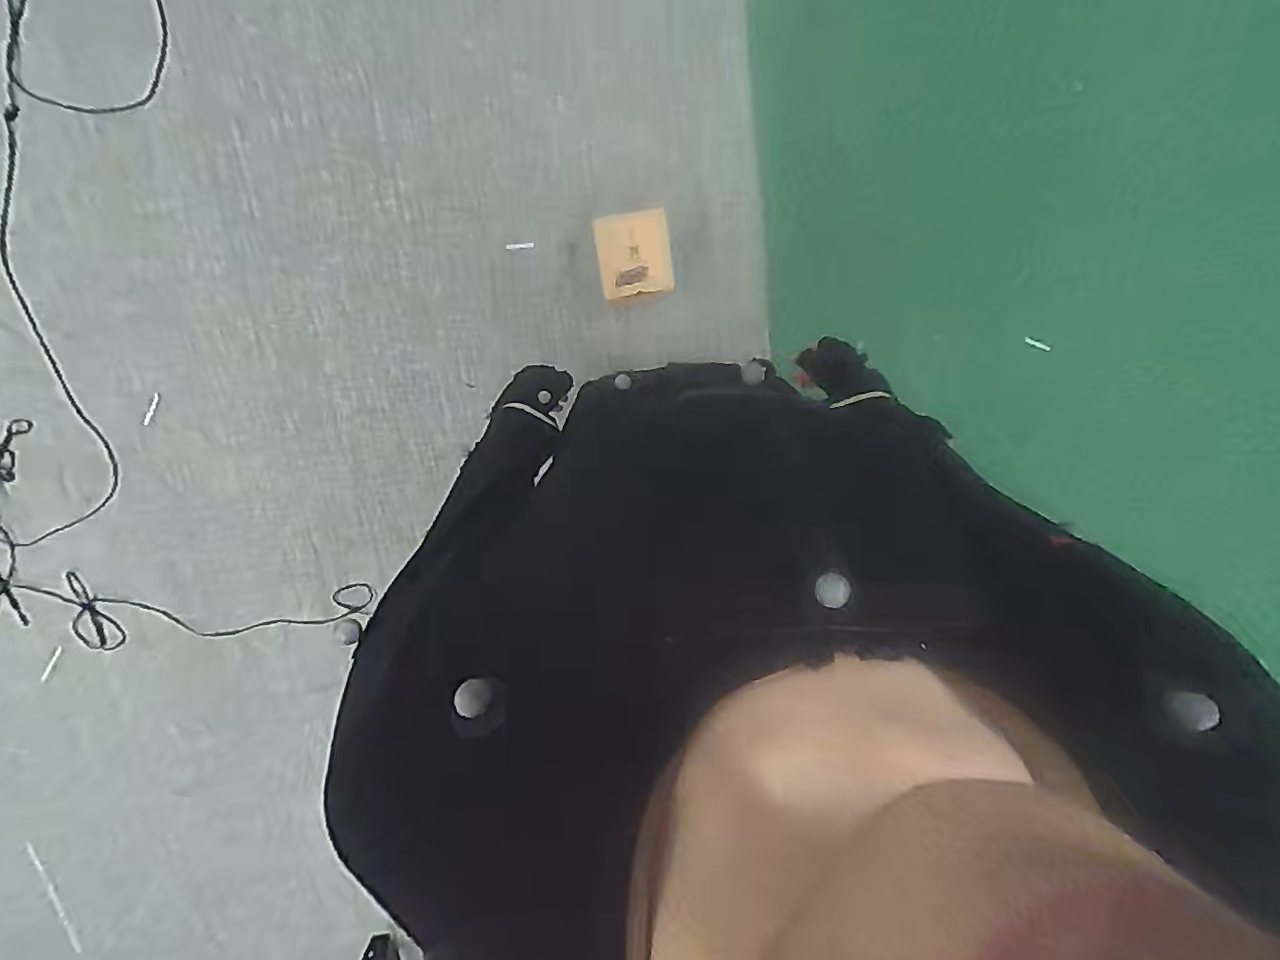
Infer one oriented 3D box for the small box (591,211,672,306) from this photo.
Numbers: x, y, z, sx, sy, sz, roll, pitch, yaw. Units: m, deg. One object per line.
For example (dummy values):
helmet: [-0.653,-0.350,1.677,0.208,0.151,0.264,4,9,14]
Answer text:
small box: [-0.016,-0.518,1.291,0.168,0.176,0.179,-8,102,2]
